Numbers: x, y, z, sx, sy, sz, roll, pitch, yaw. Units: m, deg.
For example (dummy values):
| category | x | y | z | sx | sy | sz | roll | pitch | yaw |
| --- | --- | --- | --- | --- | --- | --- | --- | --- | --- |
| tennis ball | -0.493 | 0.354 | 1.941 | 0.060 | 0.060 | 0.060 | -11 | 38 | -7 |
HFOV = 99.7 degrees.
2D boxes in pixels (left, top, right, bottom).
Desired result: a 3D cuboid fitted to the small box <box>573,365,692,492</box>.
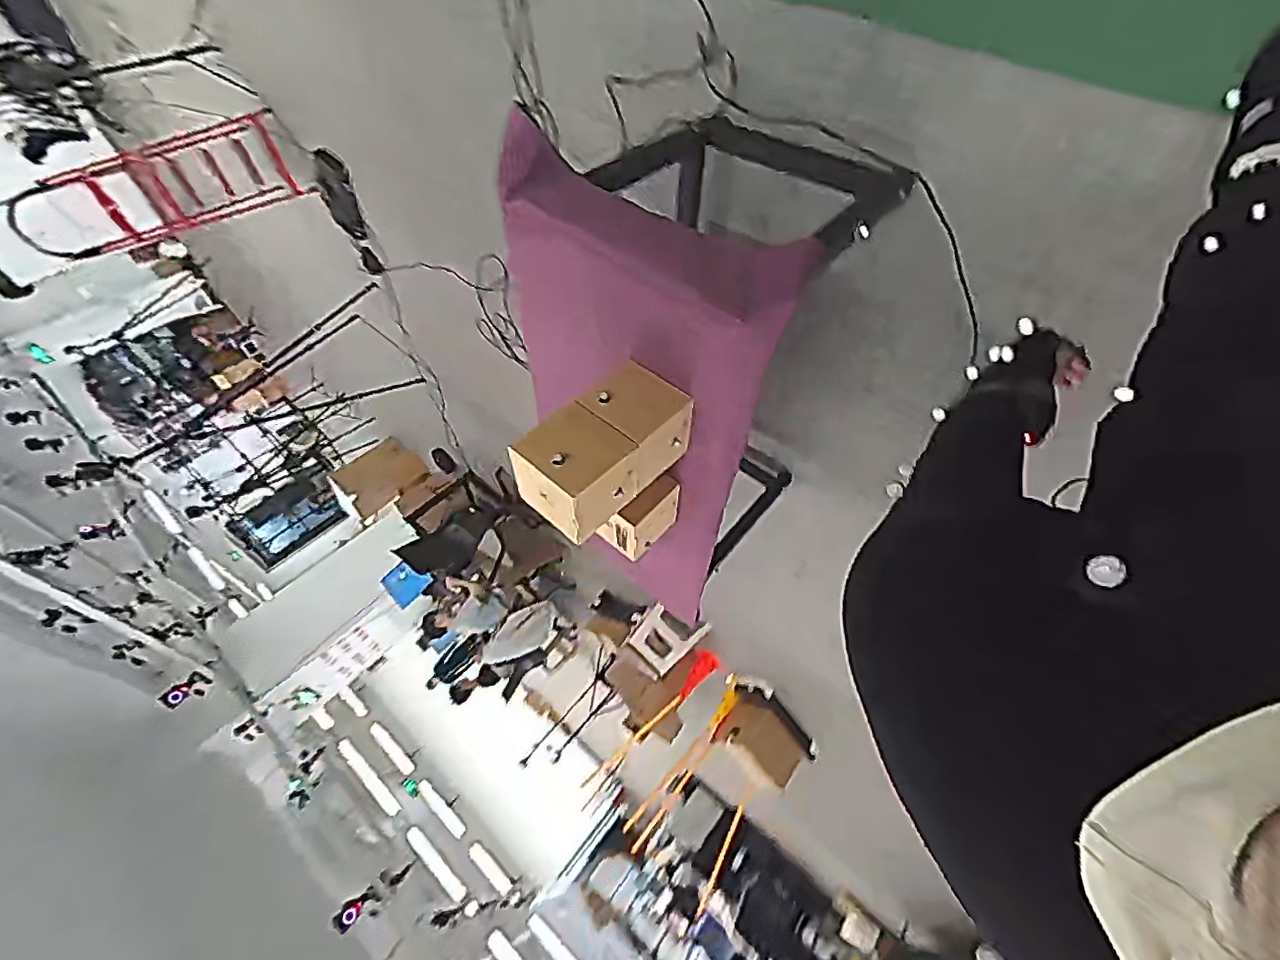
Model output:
| category | x | y | z | sx | sy | sz | roll | pitch | yaw |
| --- | --- | --- | --- | --- | --- | --- | --- | --- | --- |
| small box | -0.018 | -0.114 | 1.126 | 0.179 | 0.176 | 0.168 | 36 | 150 | 22 |

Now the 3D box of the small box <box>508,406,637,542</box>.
| category | x | y | z | sx | sy | sz | roll | pitch | yaw |
| --- | --- | --- | --- | --- | --- | --- | --- | --- | --- |
| small box | -0.128 | -0.020 | 1.052 | 0.179 | 0.176 | 0.168 | 36 | 149 | 22 |
